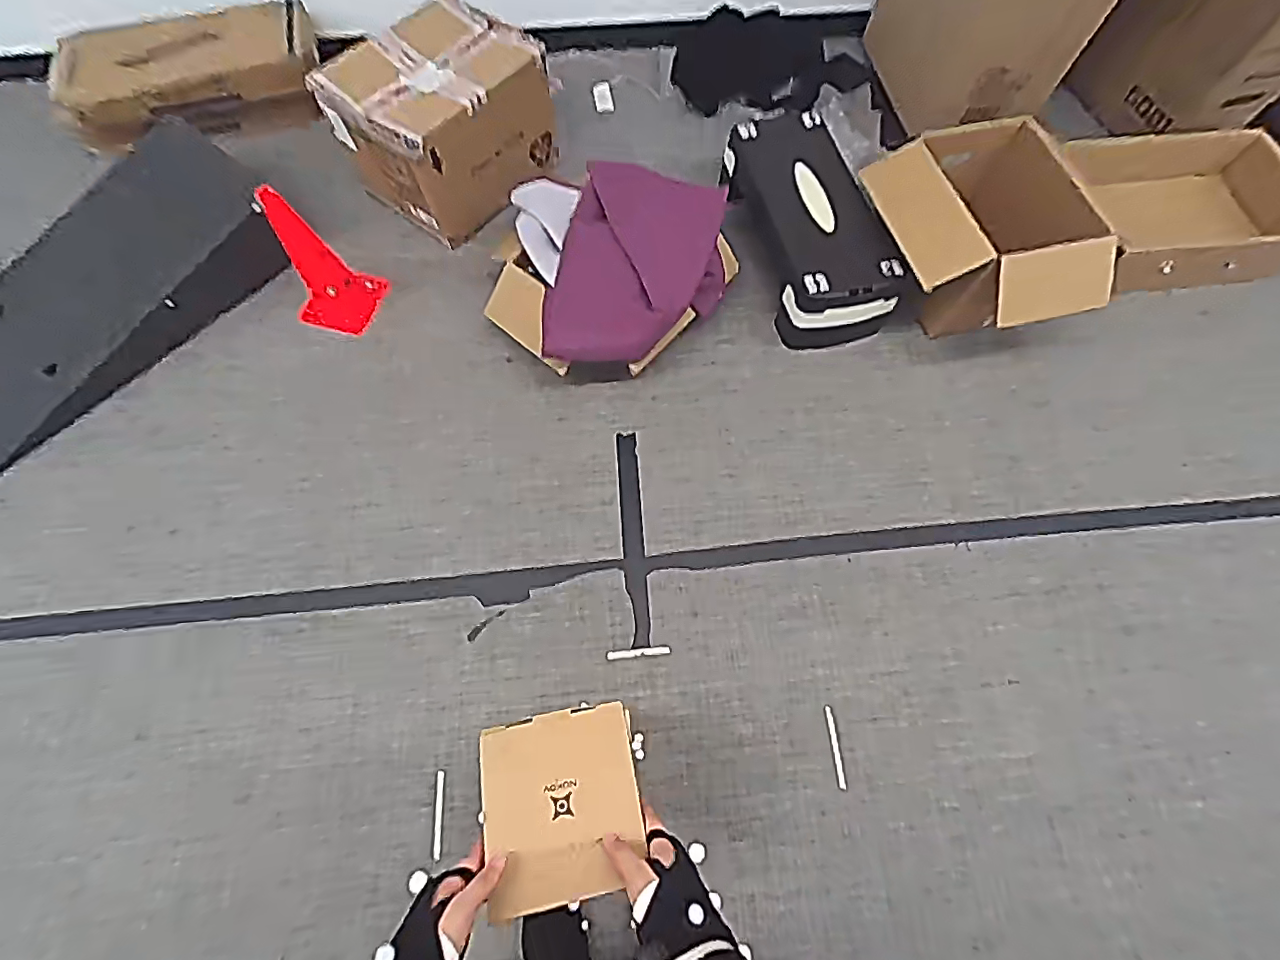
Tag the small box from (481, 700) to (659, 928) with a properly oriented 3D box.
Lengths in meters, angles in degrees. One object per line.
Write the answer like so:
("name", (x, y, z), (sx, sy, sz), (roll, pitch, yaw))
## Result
("small box", (-0.079, 0.376, 0.622), (0.168, 0.176, 0.179), (-11, 58, -7))
